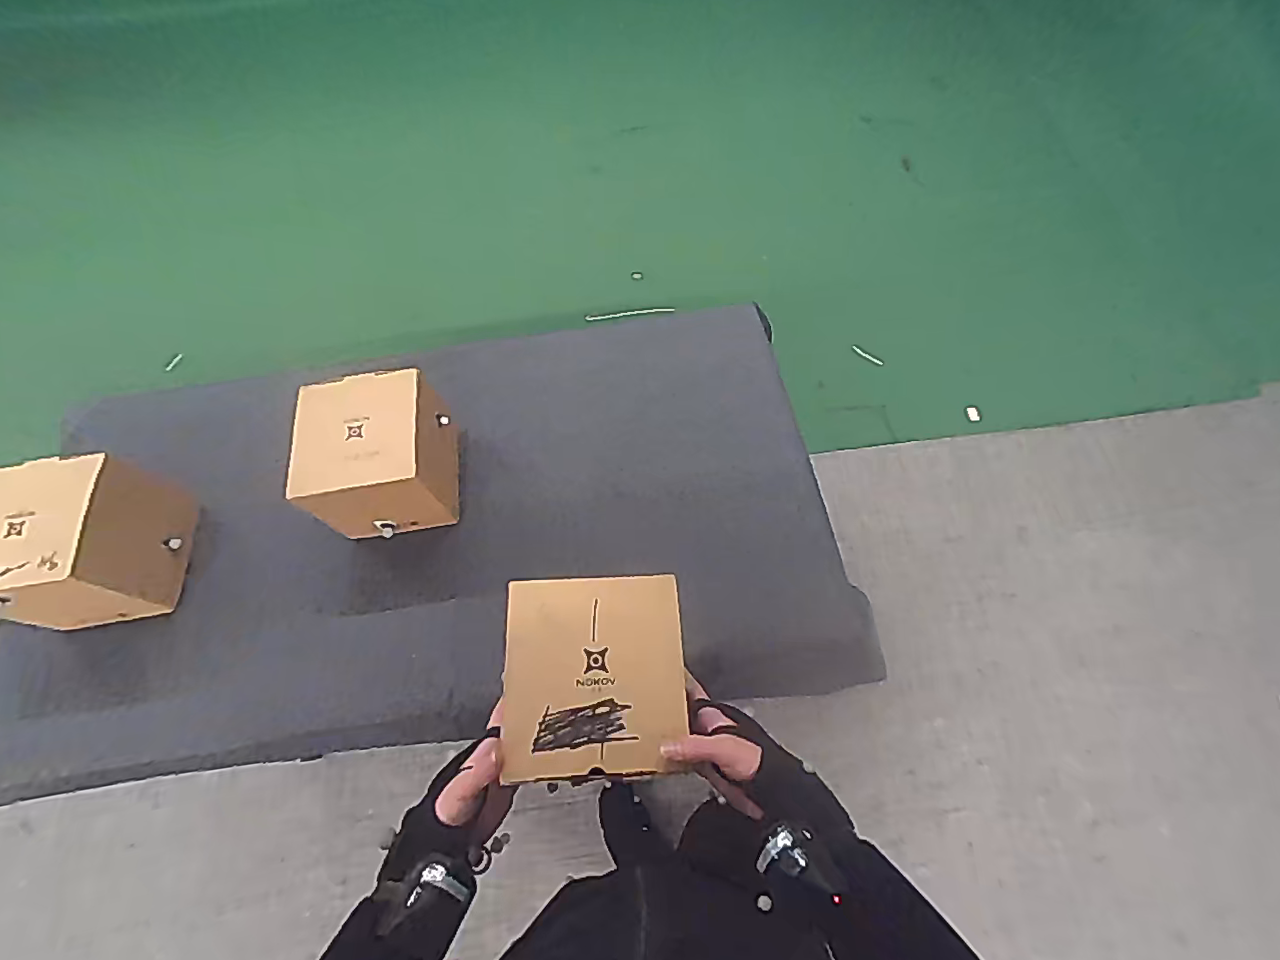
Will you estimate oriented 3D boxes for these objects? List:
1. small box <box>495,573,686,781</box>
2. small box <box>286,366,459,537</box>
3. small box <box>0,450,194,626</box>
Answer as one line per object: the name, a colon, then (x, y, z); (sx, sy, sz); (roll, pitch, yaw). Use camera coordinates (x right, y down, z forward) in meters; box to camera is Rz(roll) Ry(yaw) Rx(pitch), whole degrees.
small box: (-0.047, 0.206, 0.564); (0.168, 0.176, 0.179); (-1, 63, -4)
small box: (-0.372, -0.036, 0.783); (0.168, 0.176, 0.179); (-10, 66, -2)
small box: (-0.759, 0.084, 0.734); (0.168, 0.176, 0.179); (-9, 64, -3)
